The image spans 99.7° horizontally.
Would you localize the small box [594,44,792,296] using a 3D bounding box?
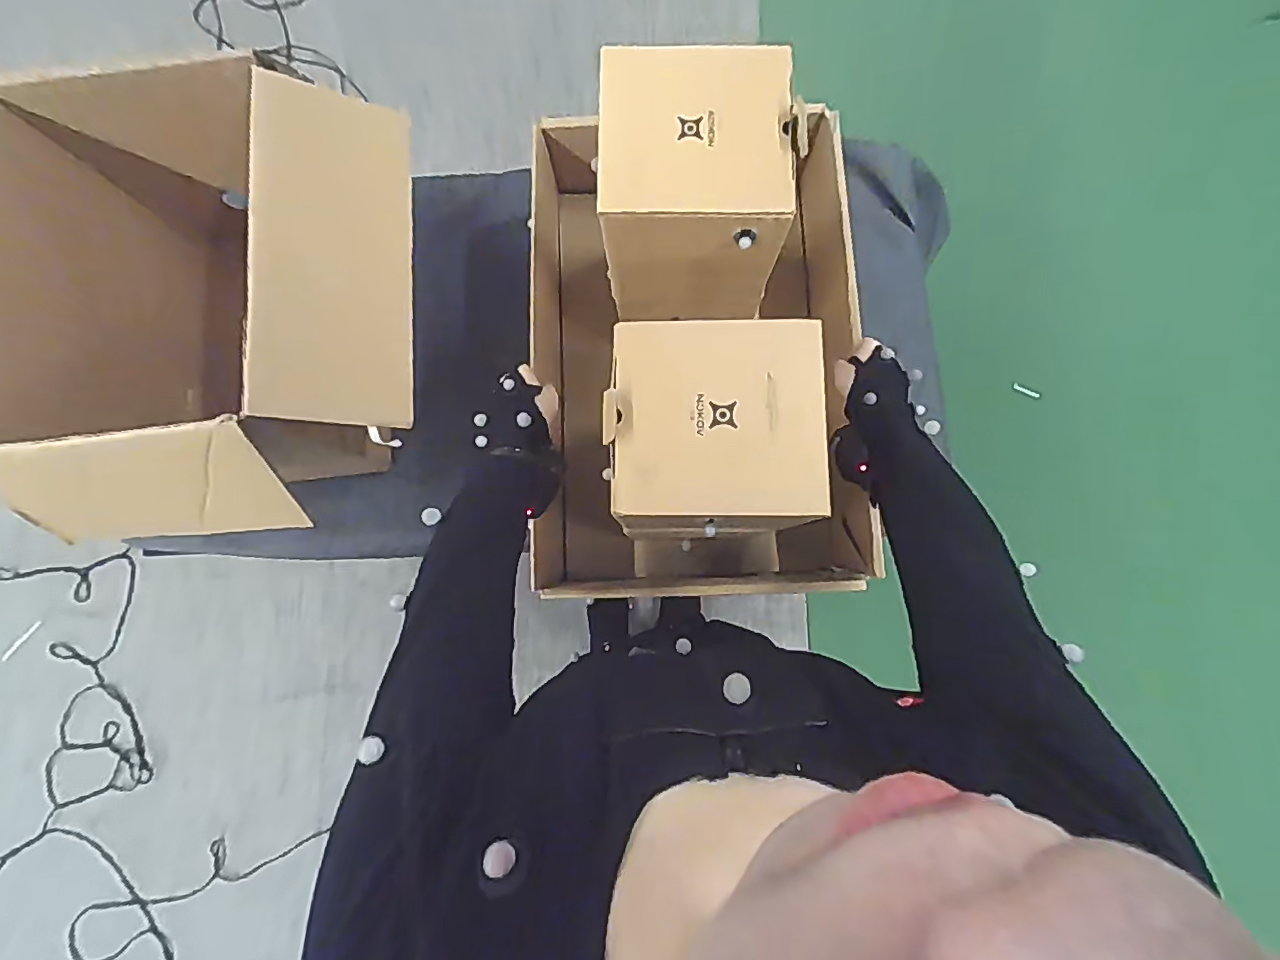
[{"bbox_3d":[0.049,-0.304,0.563,0.179,0.176,0.168,0,83,1],"label":"small box"}]
